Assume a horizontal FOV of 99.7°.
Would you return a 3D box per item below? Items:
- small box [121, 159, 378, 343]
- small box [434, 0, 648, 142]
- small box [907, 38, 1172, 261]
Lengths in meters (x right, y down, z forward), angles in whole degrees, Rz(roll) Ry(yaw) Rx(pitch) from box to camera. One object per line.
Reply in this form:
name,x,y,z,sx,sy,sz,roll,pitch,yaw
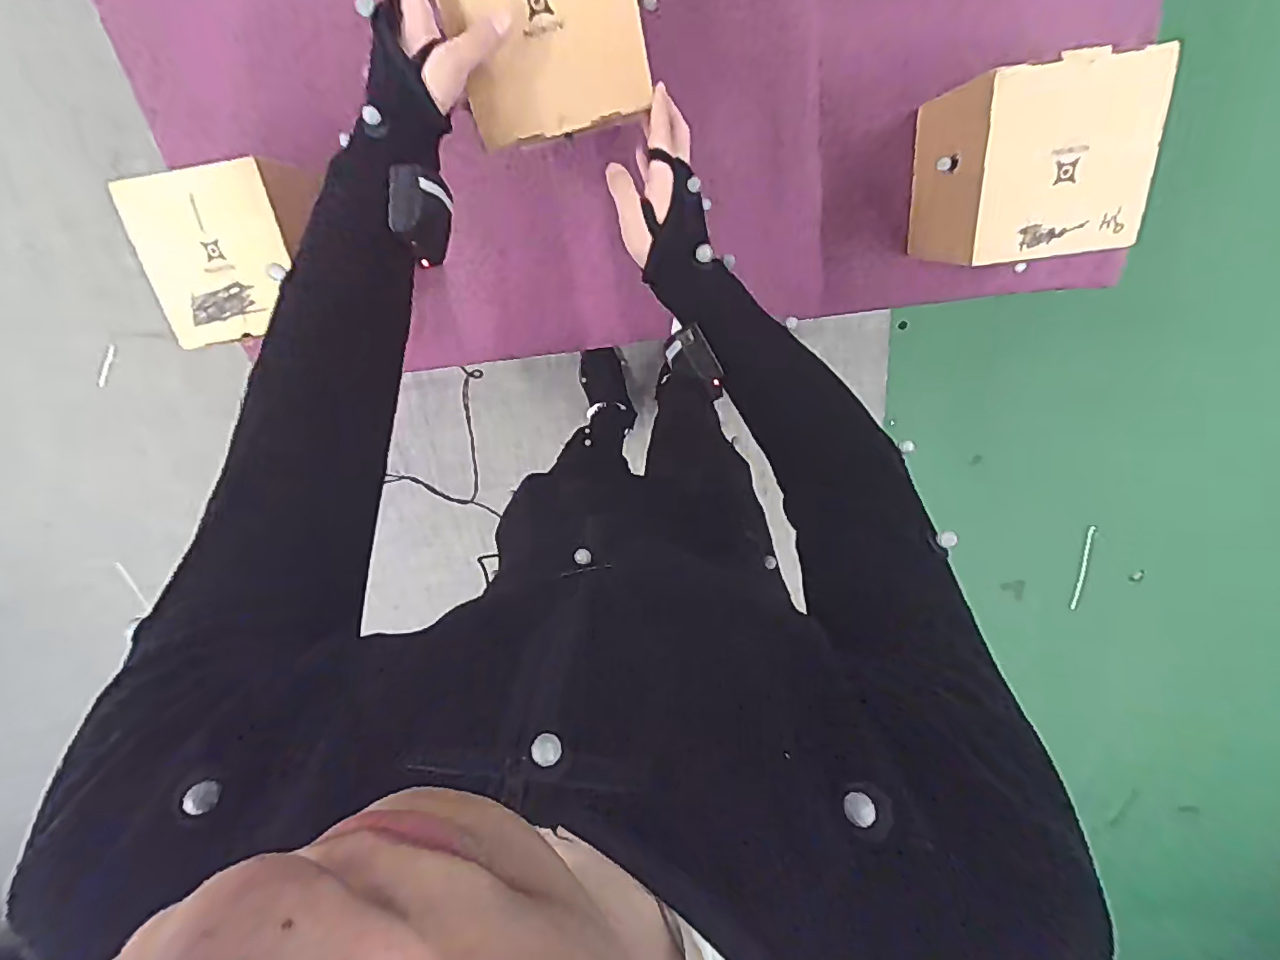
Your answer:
small box,-0.463,-0.282,0.679,0.168,0.176,0.179,-6,112,5
small box,-0.090,-0.449,0.524,0.168,0.176,0.179,-10,124,8
small box,0.416,-0.349,0.603,0.168,0.176,0.179,-5,115,7
